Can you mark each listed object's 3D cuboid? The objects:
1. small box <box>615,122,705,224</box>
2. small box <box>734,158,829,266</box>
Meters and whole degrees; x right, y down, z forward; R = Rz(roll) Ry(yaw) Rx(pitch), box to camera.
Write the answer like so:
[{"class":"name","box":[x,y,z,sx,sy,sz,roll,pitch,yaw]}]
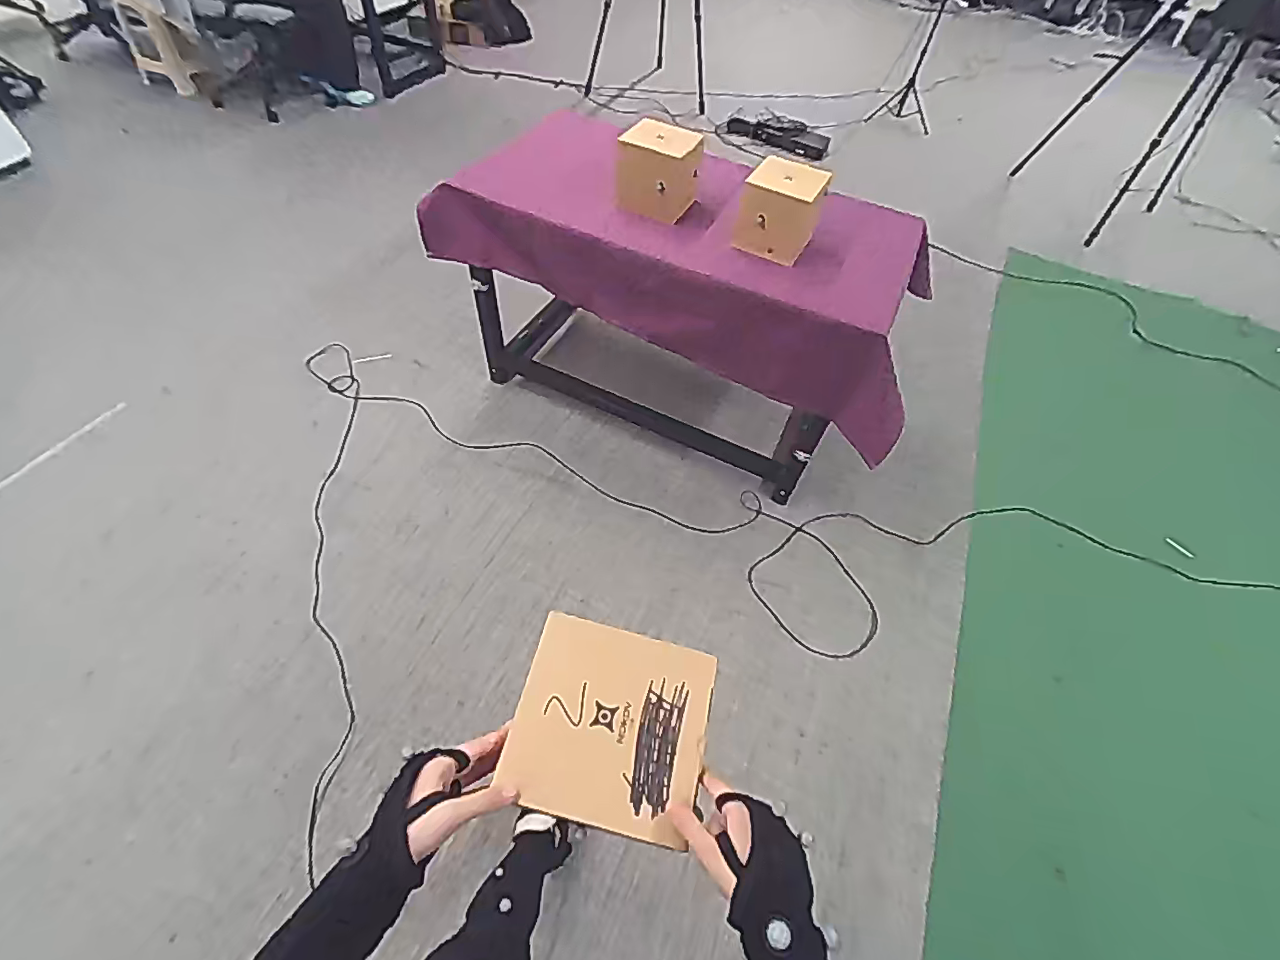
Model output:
[{"class":"small box","box":[0.049,-0.802,1.421,0.179,0.176,0.168,24,54,12]},{"class":"small box","box":[0.346,-0.665,1.351,0.168,0.176,0.179,25,55,13]}]
